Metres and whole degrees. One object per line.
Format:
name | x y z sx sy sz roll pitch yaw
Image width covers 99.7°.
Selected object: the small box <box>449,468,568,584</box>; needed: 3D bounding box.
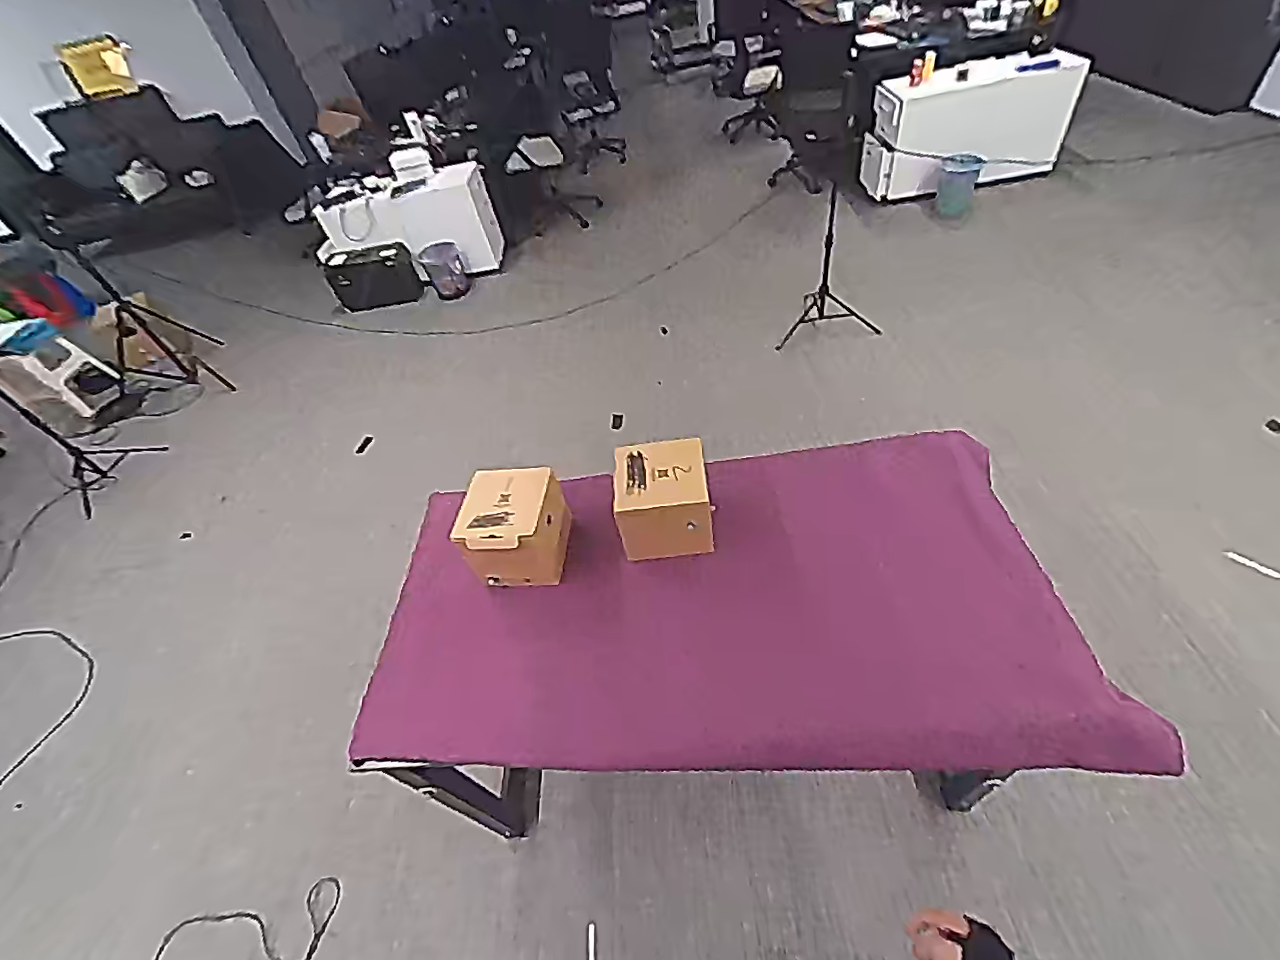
small box | -0.253 0.099 1.091 0.168 0.176 0.179 -3 48 9
